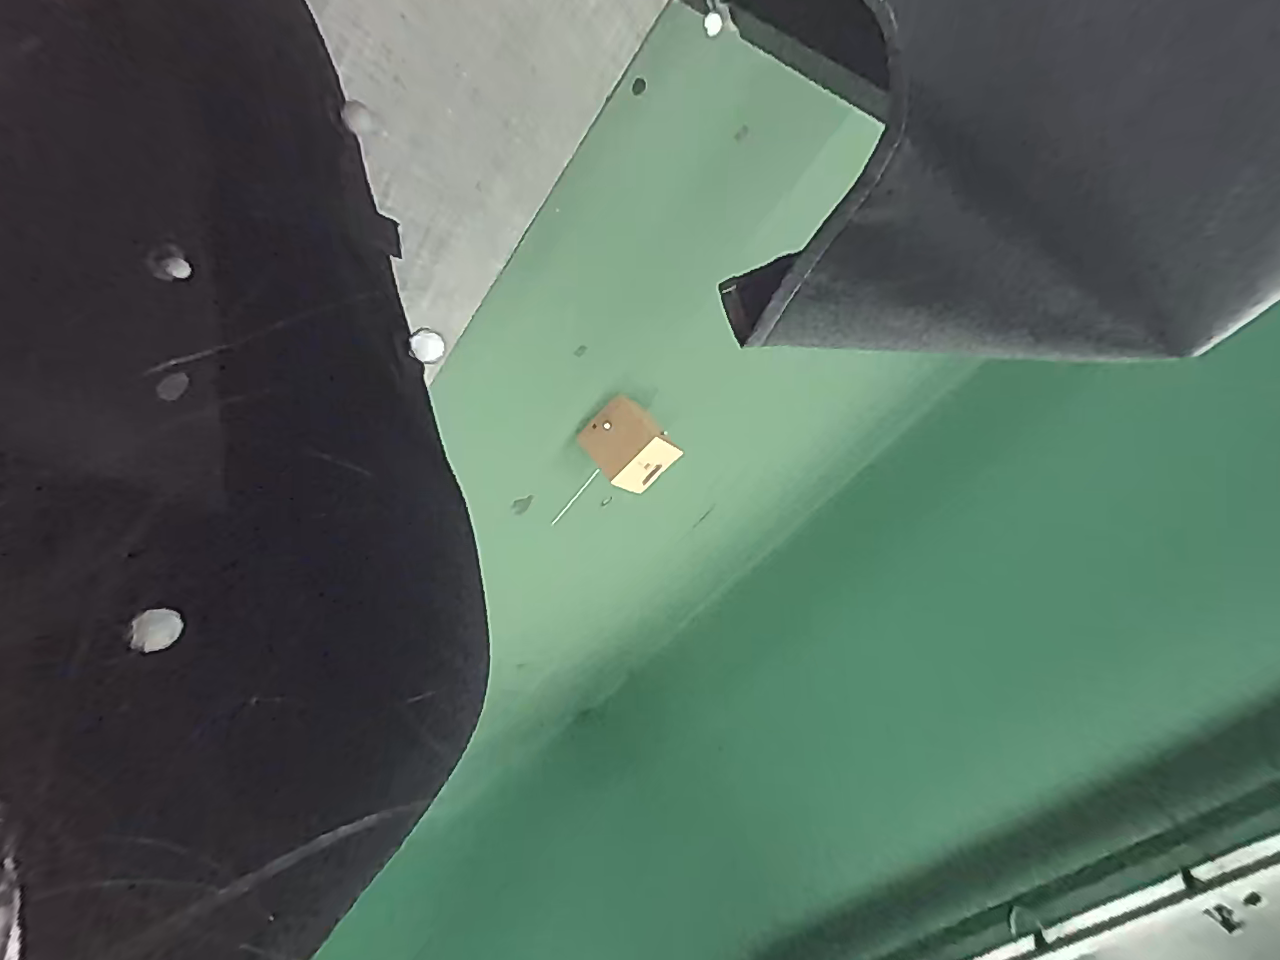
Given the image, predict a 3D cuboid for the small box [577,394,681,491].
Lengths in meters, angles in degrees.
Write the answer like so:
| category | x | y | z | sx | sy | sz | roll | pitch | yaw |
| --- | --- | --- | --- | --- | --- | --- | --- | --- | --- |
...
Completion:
| category | x | y | z | sx | sy | sz | roll | pitch | yaw |
| --- | --- | --- | --- | --- | --- | --- | --- | --- | --- |
| small box | -0.029 | -0.097 | 1.405 | 0.168 | 0.176 | 0.179 | -45 | 155 | 12 |
